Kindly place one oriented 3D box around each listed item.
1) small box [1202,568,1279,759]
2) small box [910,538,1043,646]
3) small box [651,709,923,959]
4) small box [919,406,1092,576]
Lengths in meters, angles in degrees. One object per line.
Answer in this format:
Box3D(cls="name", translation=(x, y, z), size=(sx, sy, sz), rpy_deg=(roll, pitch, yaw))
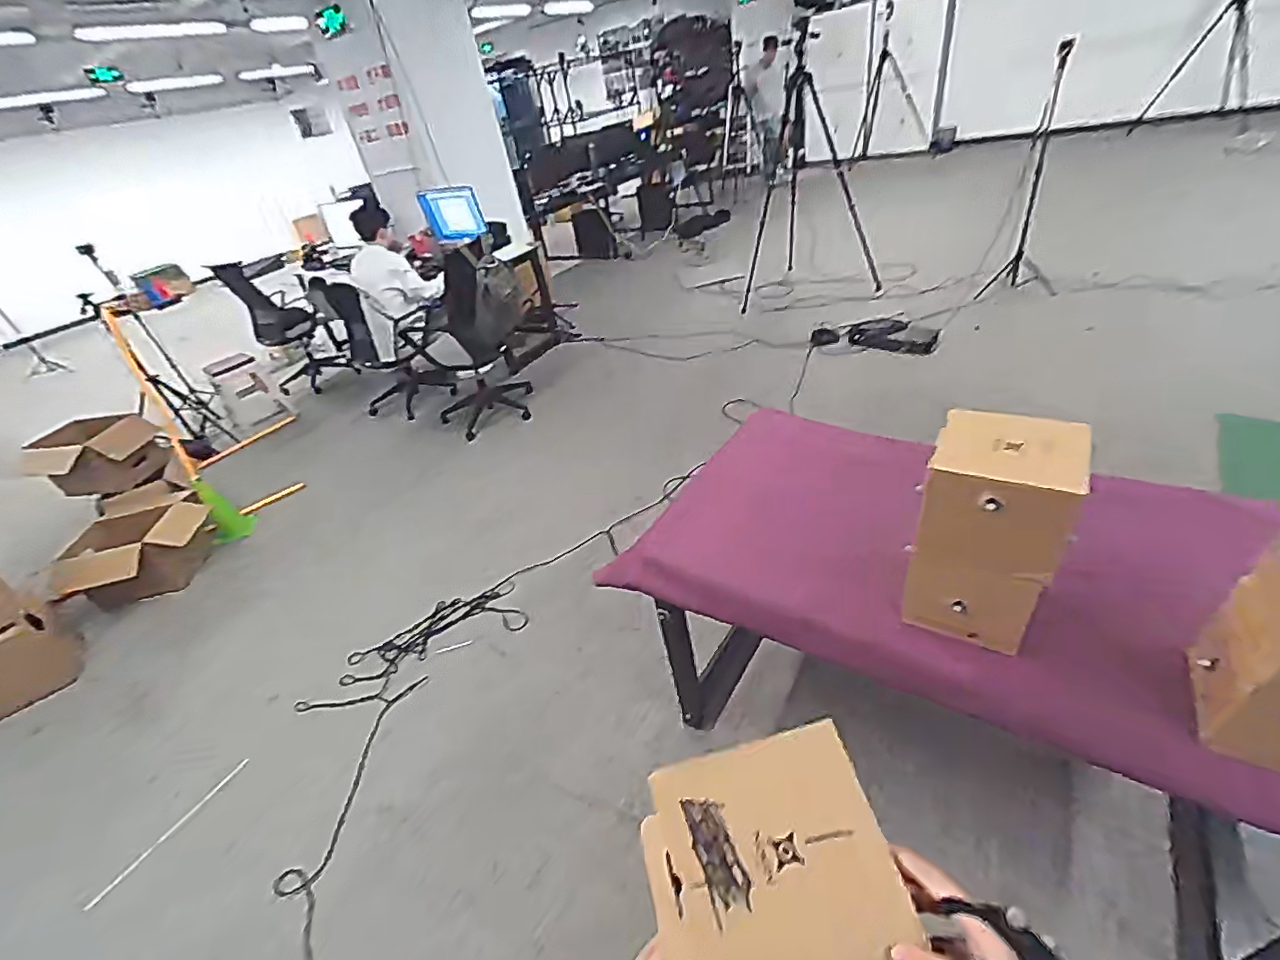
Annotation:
Box3D(cls="small box", translation=(0.835, 0.239, 0.651), size=(0.179, 0.176, 0.168), rpy_deg=(11, 44, 33))
Box3D(cls="small box", translation=(0.553, 0.138, 0.885), size=(0.168, 0.176, 0.179), rpy_deg=(14, 43, 33))
Box3D(cls="small box", translation=(0.123, 0.343, 0.507), size=(0.179, 0.176, 0.168), rpy_deg=(-16, 51, -2))
Box3D(cls="small box", translation=(0.521, 0.013, 0.785), size=(0.179, 0.176, 0.168), rpy_deg=(14, 45, 33))
